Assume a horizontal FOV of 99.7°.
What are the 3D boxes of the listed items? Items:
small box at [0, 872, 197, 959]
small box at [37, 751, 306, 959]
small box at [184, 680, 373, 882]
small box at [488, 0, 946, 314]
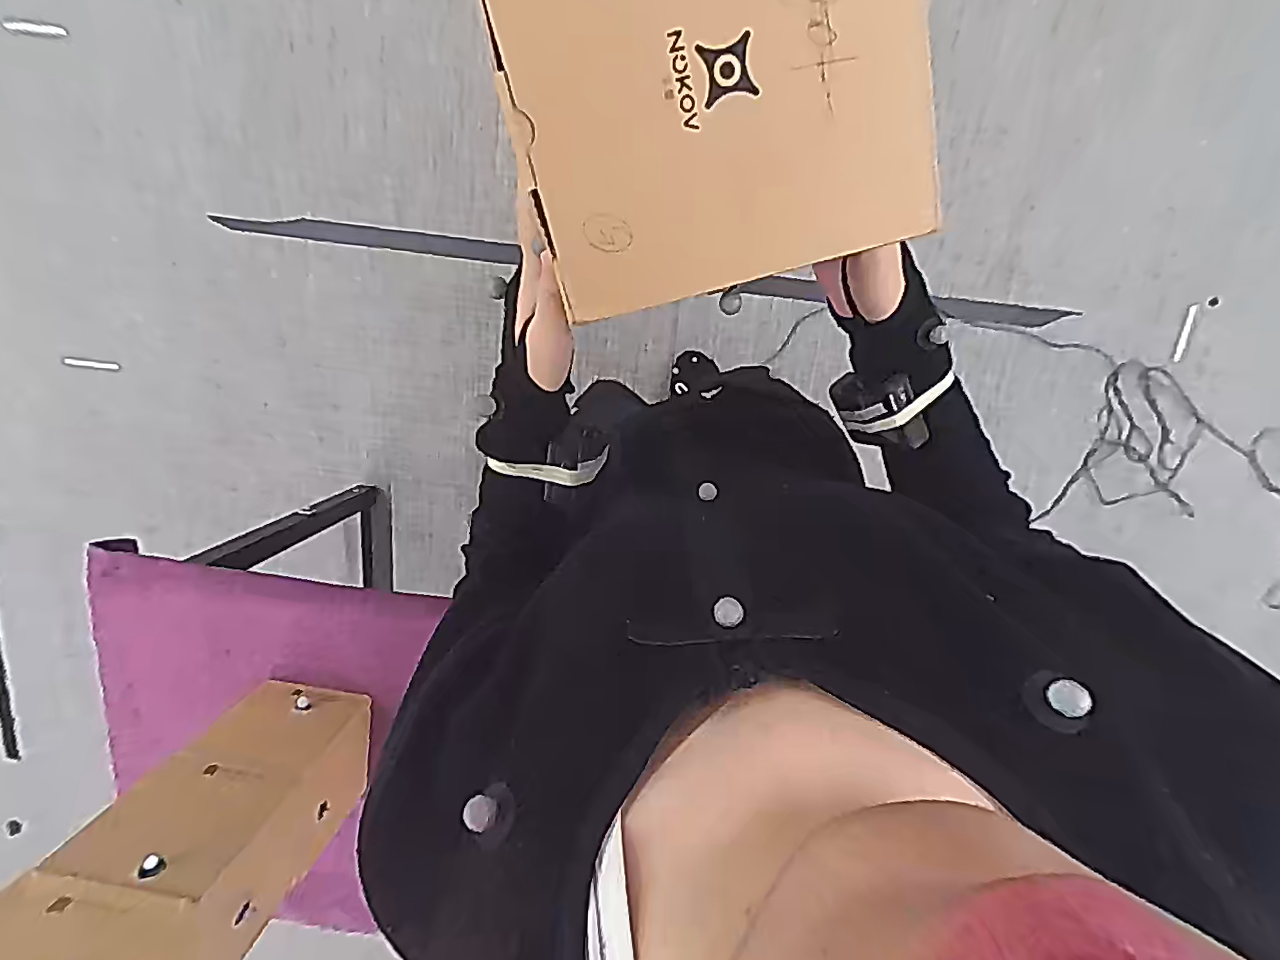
[{"bbox_3d":[-0.523,0.483,0.459,0.168,0.176,0.179,11,103,-1],"label":"small box"},{"bbox_3d":[-0.516,0.454,0.620,0.168,0.176,0.179,11,104,-1],"label":"small box"},{"bbox_3d":[-0.509,0.424,0.781,0.168,0.176,0.179,9,102,0],"label":"small box"},{"bbox_3d":[0.032,-0.194,0.299,0.179,0.176,0.168,-15,108,2],"label":"small box"}]
